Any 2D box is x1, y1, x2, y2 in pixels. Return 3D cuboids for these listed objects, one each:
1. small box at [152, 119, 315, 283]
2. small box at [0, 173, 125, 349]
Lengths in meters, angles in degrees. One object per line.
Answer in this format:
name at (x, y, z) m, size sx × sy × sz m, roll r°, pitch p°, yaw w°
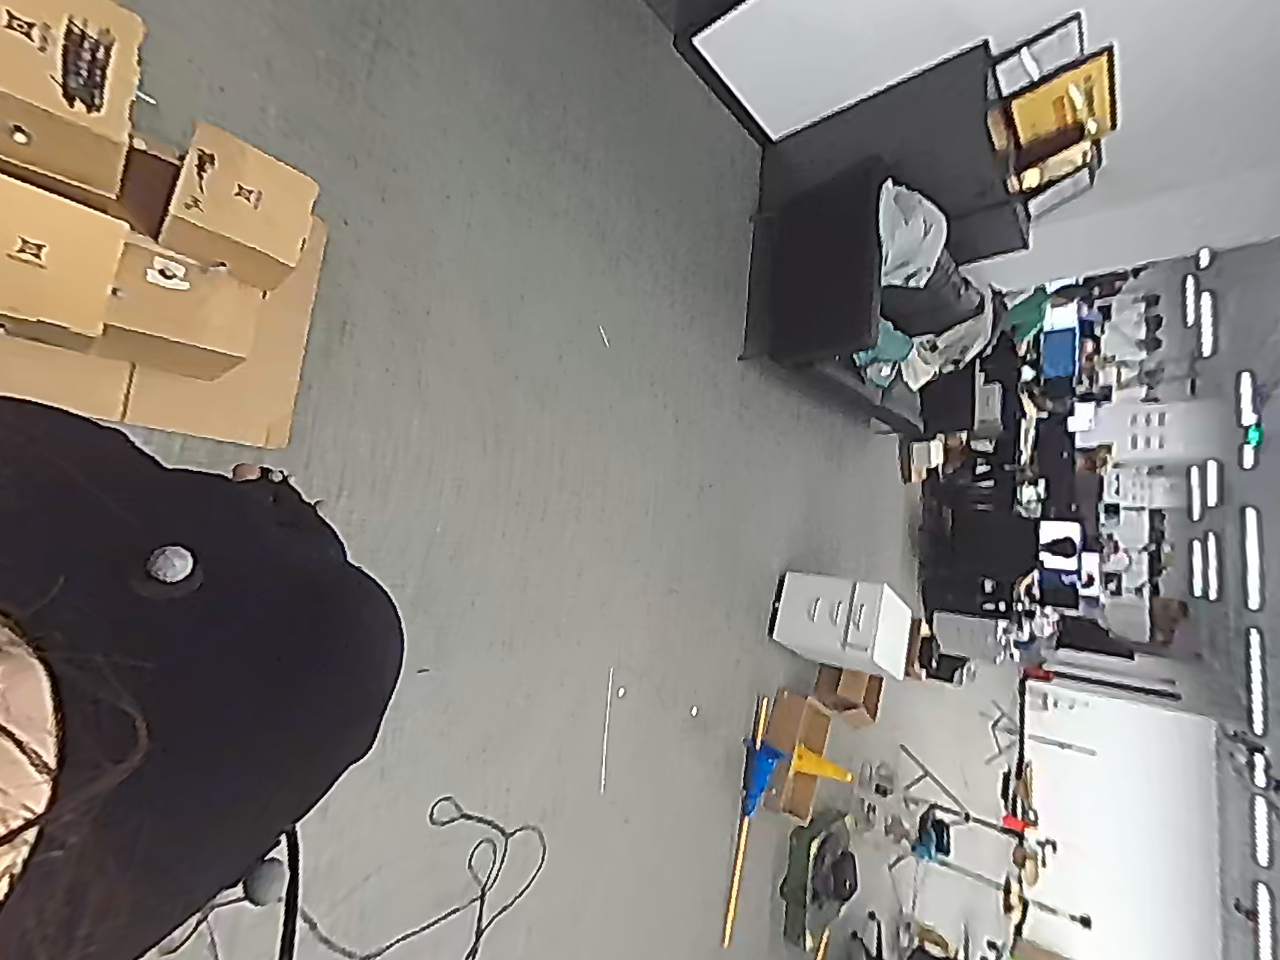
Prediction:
small box at (-0.701, -0.462, 0.934) m, size 0.179 × 0.176 × 0.168 m, roll 19°, pitch 76°, yaw -44°
small box at (-0.861, -0.301, 0.756) m, size 0.168 × 0.176 × 0.179 m, roll 15°, pitch 80°, yaw -48°
